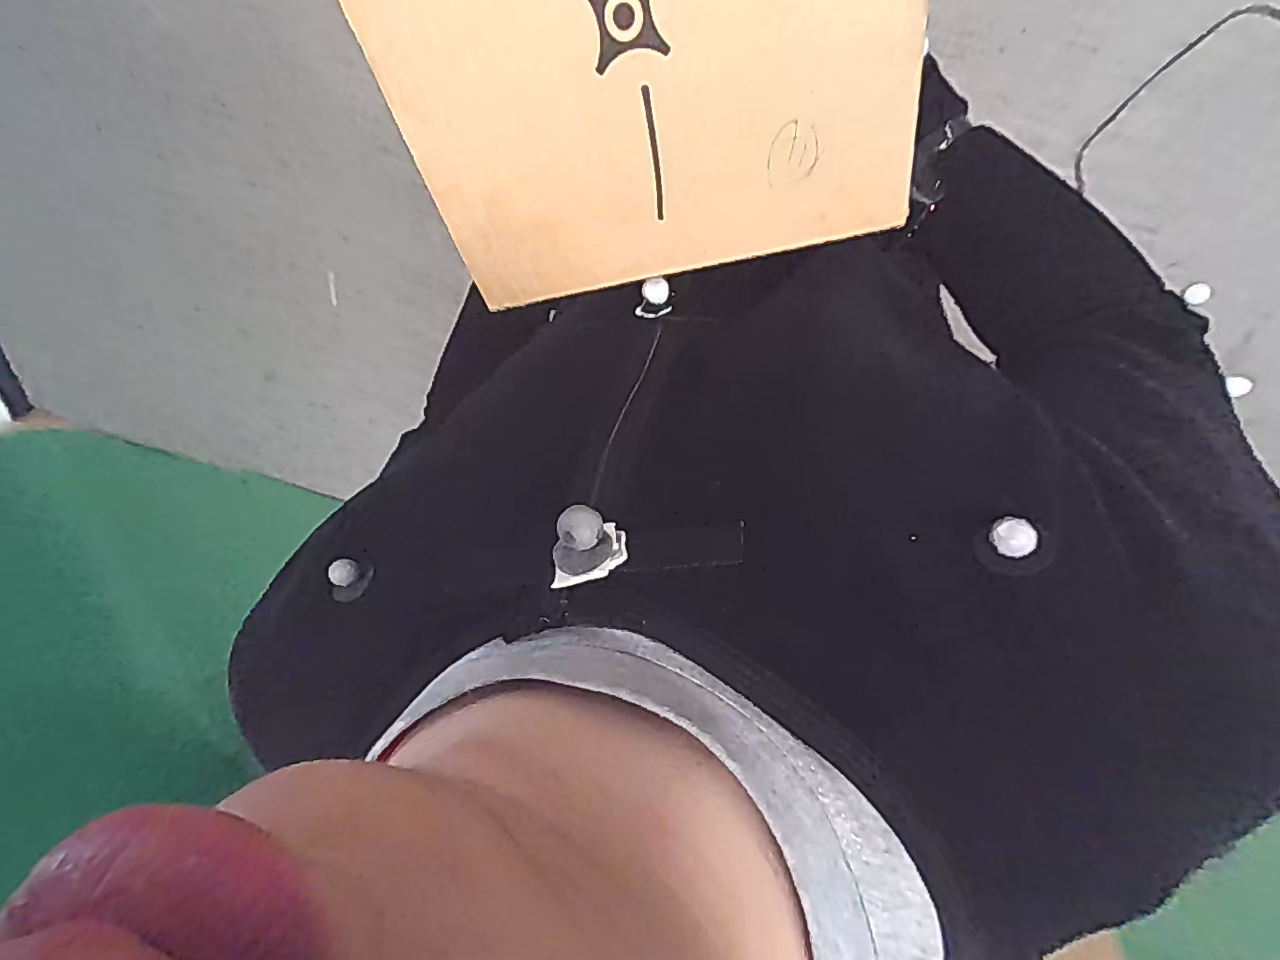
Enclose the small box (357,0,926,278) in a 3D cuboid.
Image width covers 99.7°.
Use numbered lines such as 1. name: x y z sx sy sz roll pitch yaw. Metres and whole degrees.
1. small box: 0.000 -0.209 0.205 0.168 0.176 0.179 -7 134 13
